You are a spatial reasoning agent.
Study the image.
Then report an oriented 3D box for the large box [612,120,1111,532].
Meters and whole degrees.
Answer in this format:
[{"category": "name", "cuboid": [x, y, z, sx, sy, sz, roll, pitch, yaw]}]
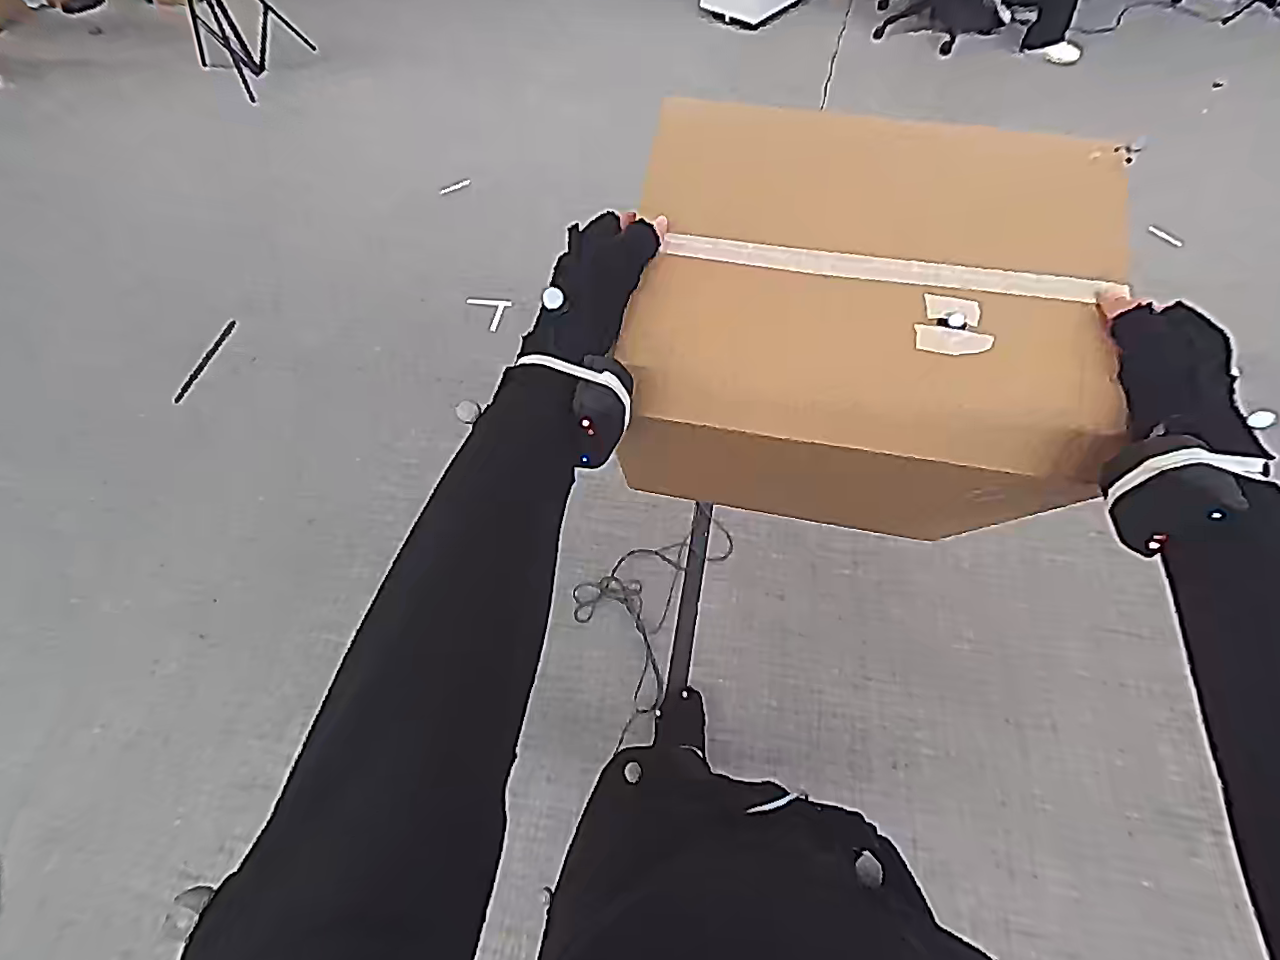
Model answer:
[{"category": "large box", "cuboid": [0.202, -0.140, 0.614, 0.408, 0.320, 0.320, 9, 78, 6]}]
